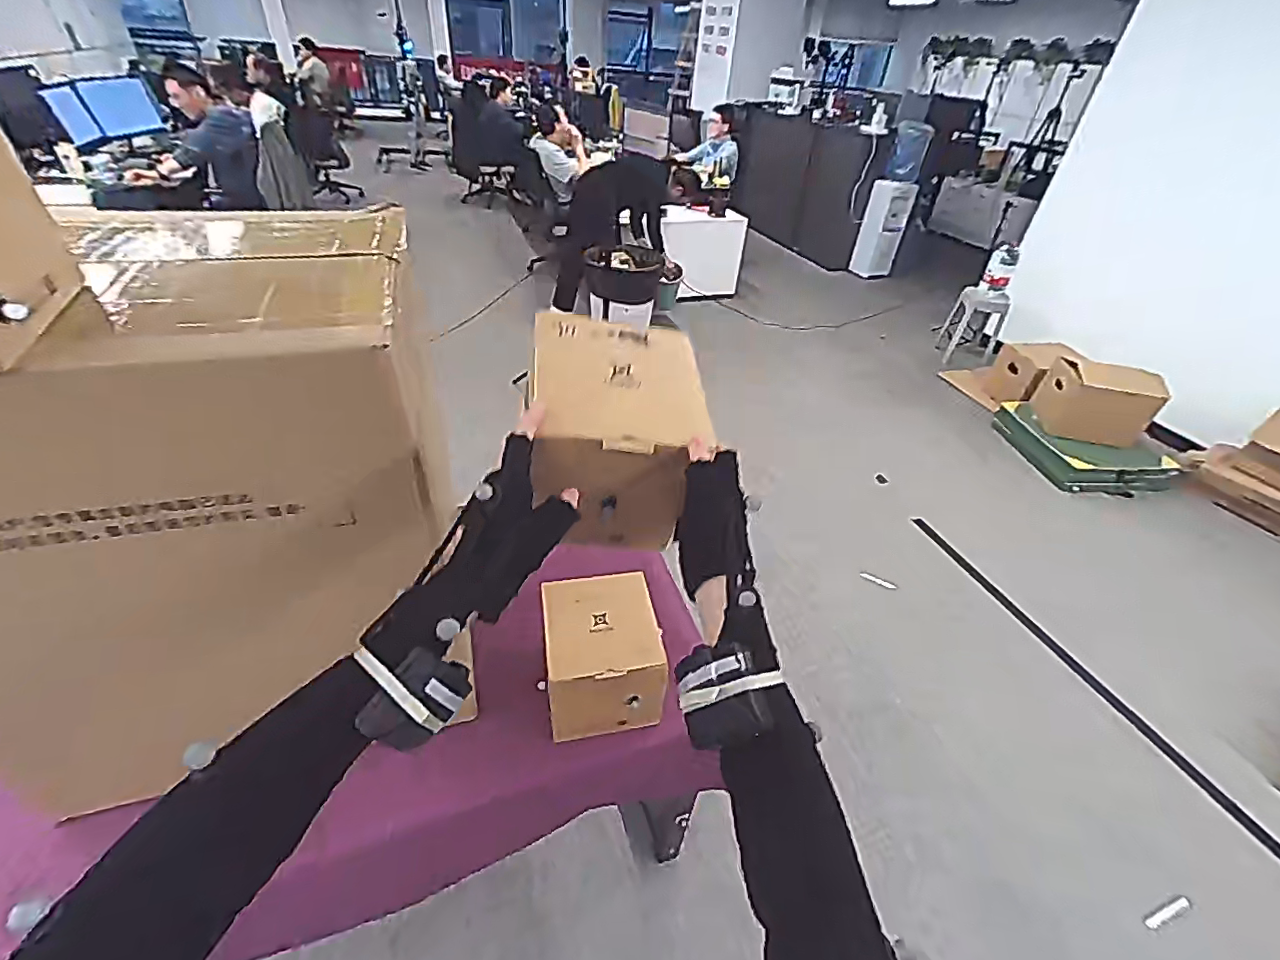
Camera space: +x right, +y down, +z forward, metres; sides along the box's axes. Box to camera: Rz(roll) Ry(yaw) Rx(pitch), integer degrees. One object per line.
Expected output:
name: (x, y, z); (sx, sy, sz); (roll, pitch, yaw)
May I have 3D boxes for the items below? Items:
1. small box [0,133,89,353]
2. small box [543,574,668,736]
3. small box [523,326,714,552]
small box: (-0.524, -0.171, 0.345); (0.179, 0.176, 0.168); (-11, 43, -18)
small box: (-0.060, 0.275, 0.843); (0.168, 0.176, 0.179); (-4, 38, -13)
small box: (-0.035, -0.037, 0.586); (0.168, 0.176, 0.179); (5, 48, -14)
